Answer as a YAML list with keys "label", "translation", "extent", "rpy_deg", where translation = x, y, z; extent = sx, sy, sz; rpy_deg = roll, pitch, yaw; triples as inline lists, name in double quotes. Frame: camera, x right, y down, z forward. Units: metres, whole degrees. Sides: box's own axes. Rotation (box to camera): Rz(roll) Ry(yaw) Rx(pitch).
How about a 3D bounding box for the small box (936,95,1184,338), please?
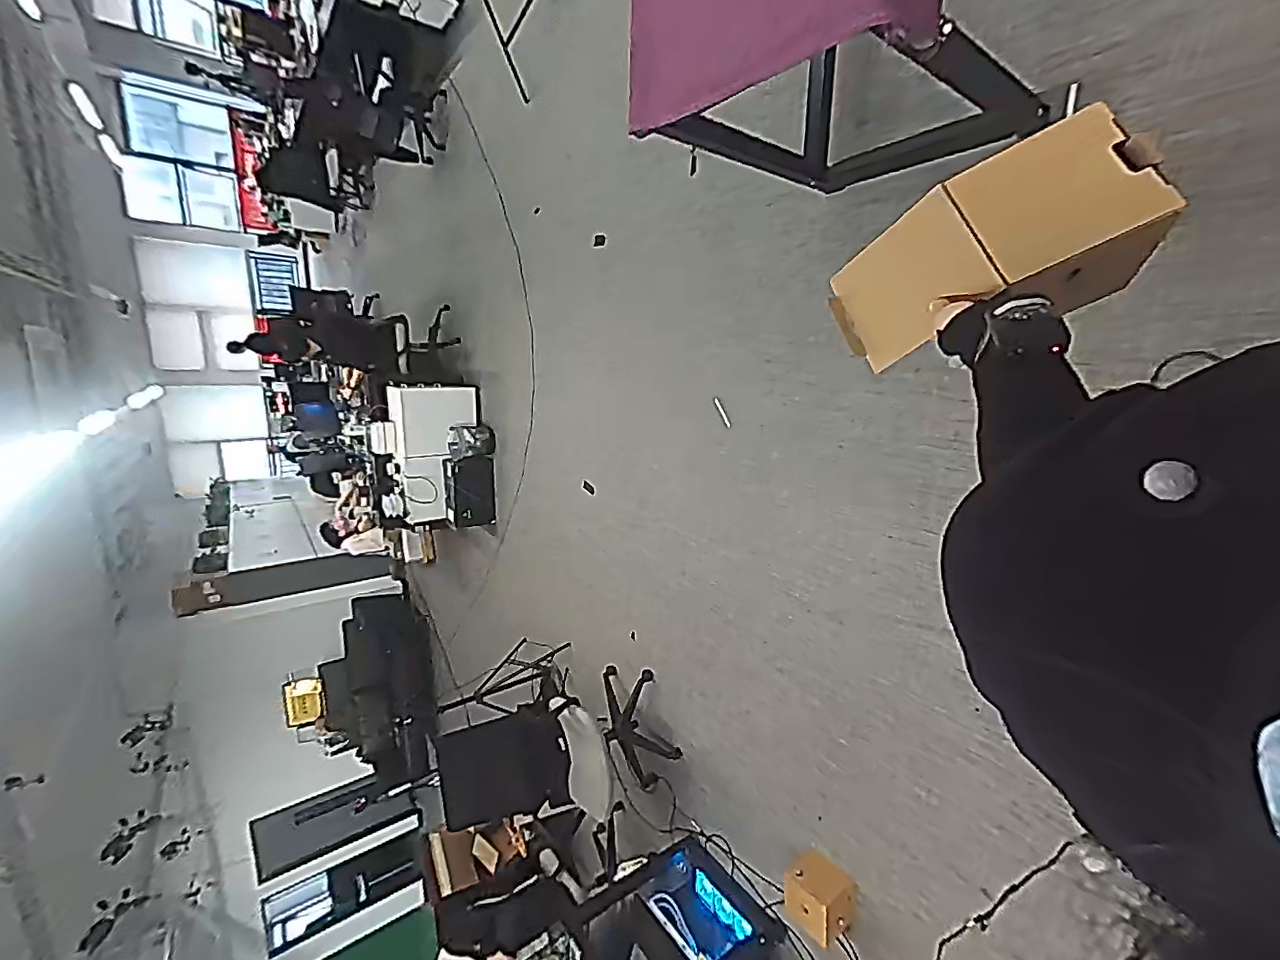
- label: "small box"
  translation: [0.489, -0.306, 0.669]
  extent: [0.179, 0.176, 0.168]
  rpy_deg: [-24, 70, 18]
